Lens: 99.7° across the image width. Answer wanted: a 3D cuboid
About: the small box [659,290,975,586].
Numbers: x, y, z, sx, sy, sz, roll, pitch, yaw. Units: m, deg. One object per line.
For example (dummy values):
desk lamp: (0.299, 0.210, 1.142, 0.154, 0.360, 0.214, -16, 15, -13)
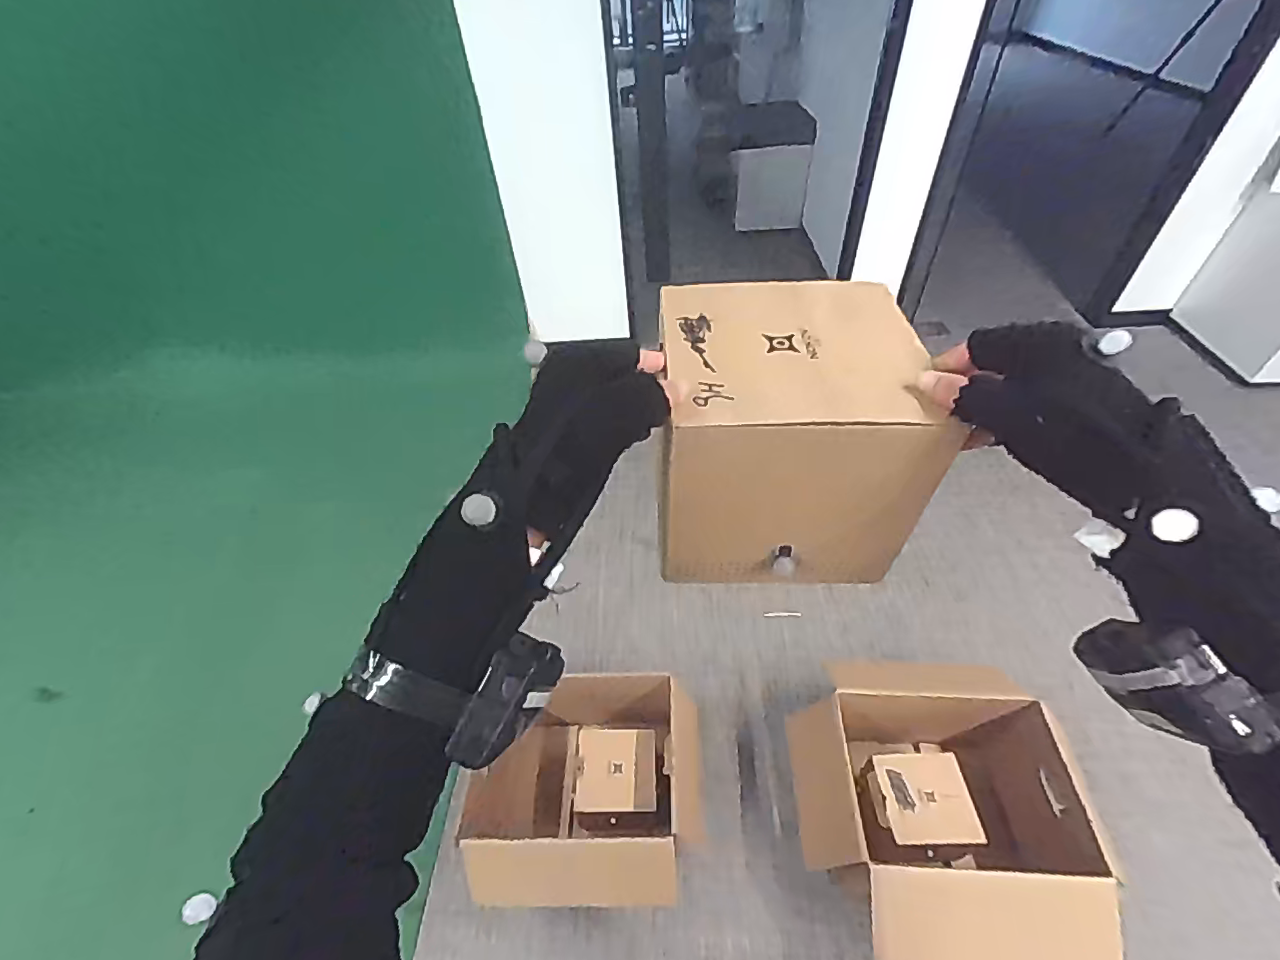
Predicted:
small box: (0.108, -0.030, 0.425, 0.179, 0.176, 0.168, -1, 47, -1)
